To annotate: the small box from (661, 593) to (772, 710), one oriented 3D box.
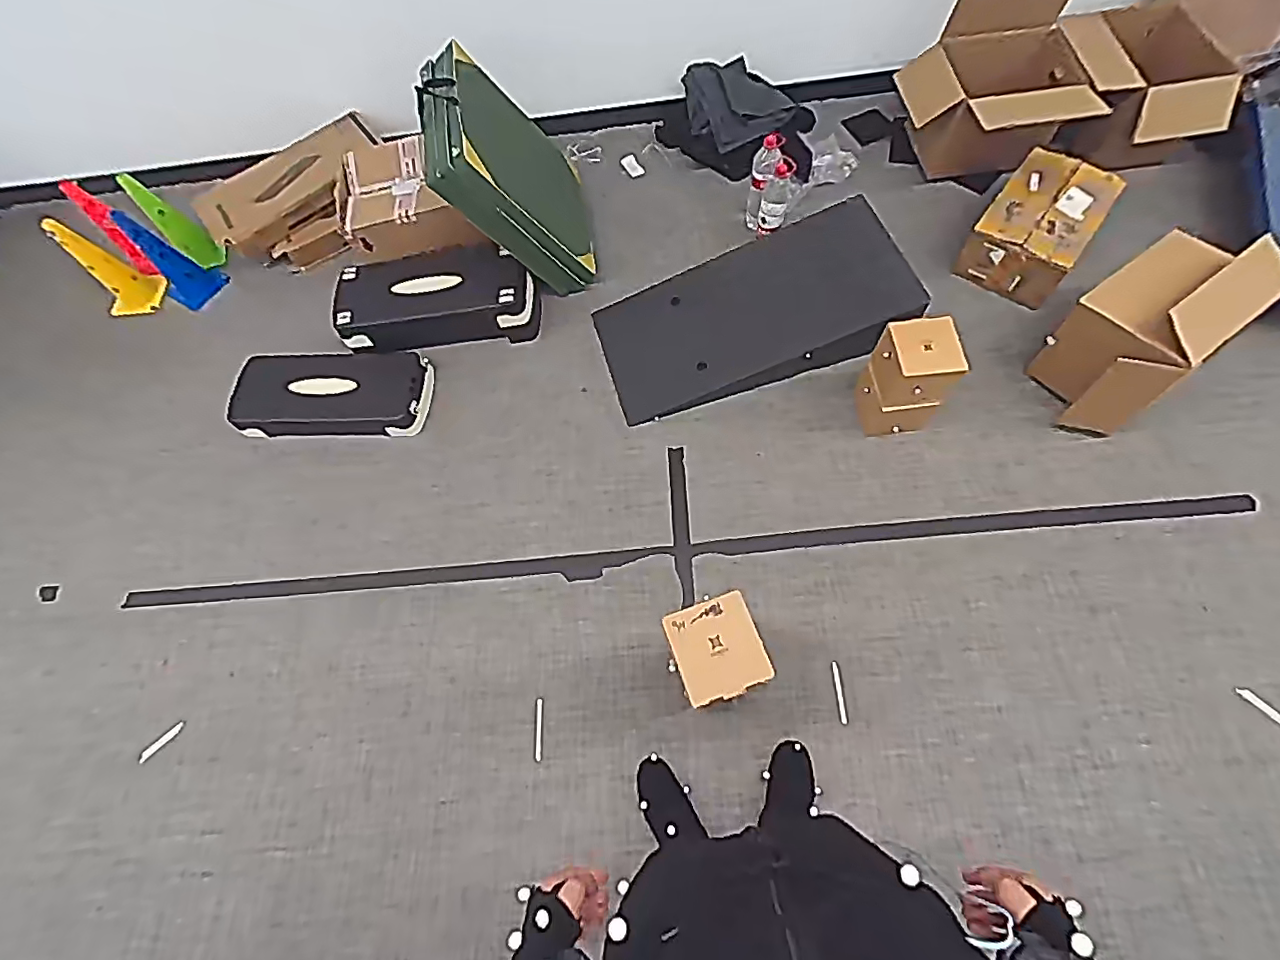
[{"bbox_3d":[0.150,0.351,1.099,0.168,0.176,0.179,-19,67,-3],"label":"small box"}]
